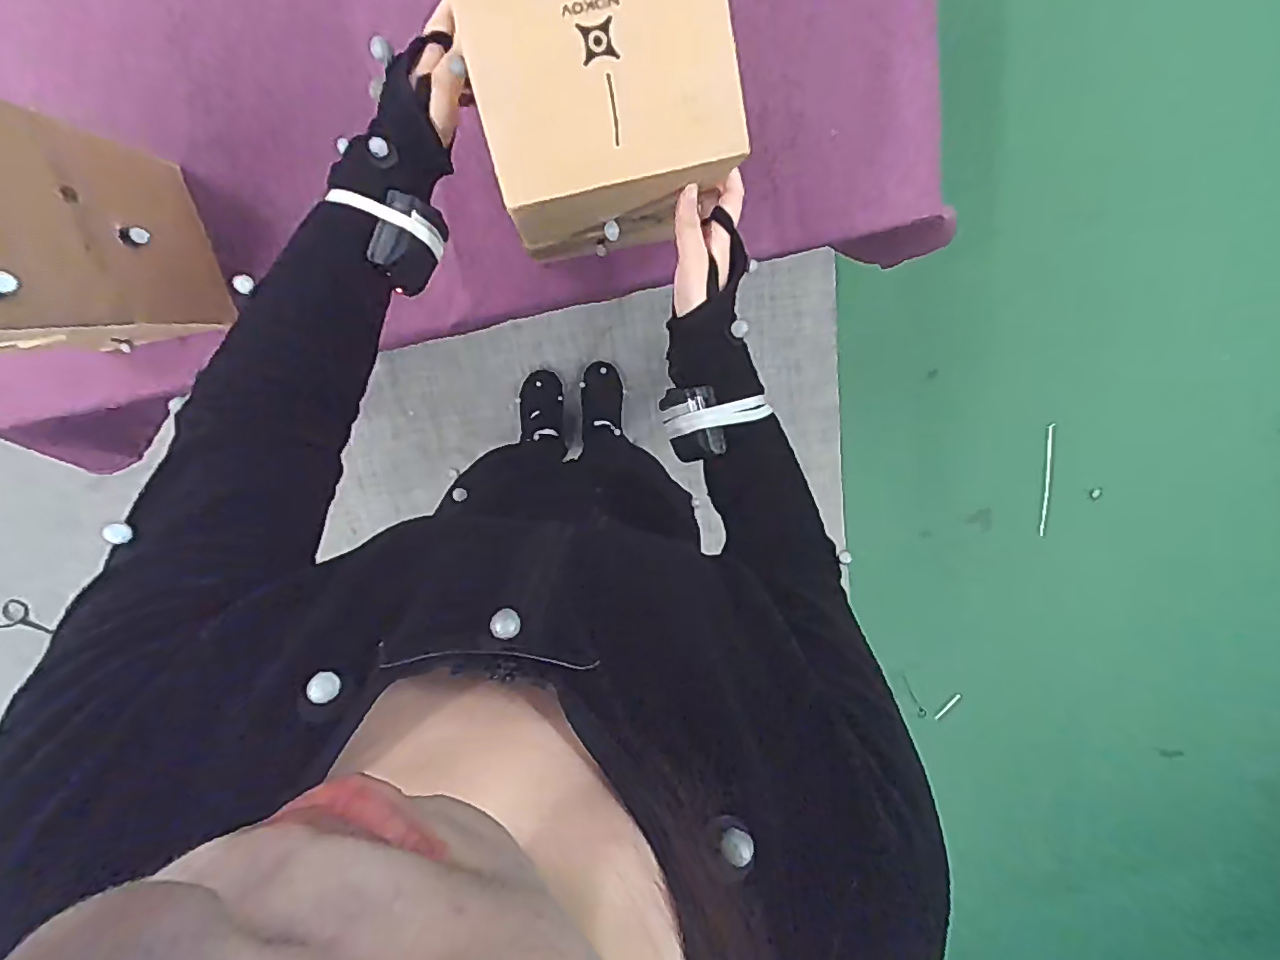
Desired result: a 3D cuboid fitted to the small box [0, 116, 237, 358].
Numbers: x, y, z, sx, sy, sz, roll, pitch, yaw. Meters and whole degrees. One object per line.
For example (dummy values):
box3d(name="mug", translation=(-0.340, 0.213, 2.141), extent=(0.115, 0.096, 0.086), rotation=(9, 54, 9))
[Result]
box3d(name="small box", translation=(-0.559, -0.224, 0.538), extent=(0.168, 0.176, 0.179), rotation=(-13, 109, -3))

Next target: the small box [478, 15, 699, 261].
box3d(name="small box", translation=(-0.049, -0.334, 0.565), extent=(0.179, 0.176, 0.168), rotation=(-12, 109, -3))
